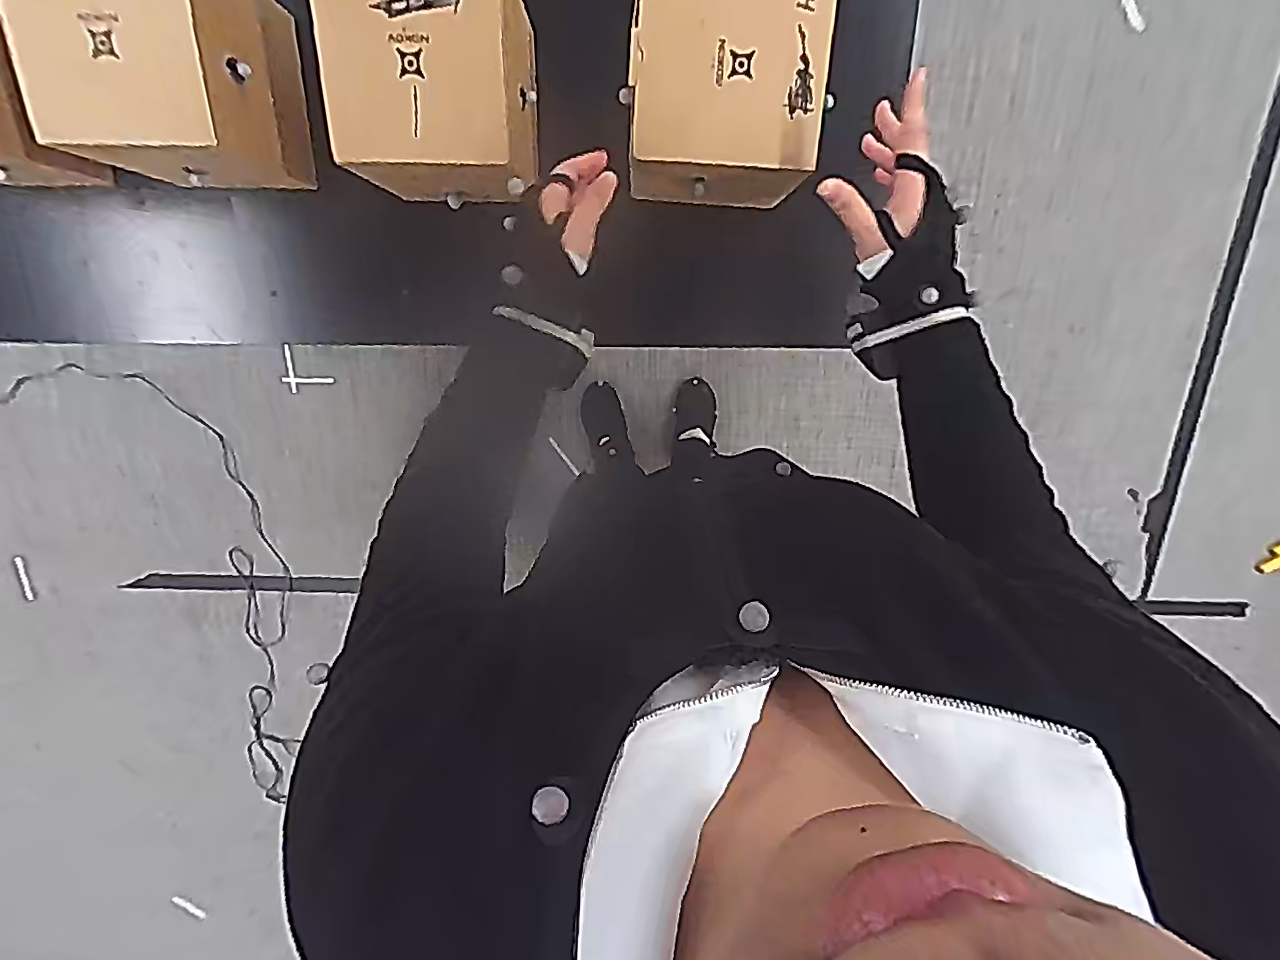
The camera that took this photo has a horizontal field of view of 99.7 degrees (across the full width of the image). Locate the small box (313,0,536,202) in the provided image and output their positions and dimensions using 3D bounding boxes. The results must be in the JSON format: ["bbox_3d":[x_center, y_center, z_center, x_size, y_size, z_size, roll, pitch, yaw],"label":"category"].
[{"bbox_3d":[-0.202,-0.400,0.552,0.168,0.176,0.179,1,107,-1],"label":"small box"}]

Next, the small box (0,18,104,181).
[{"bbox_3d":[-0.707,-0.414,0.543,0.168,0.176,0.179,-1,105,-2],"label":"small box"}]

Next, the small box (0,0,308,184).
[{"bbox_3d":[-0.467,-0.411,0.545,0.168,0.176,0.179,0,106,-2],"label":"small box"}]

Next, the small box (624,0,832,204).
[{"bbox_3d":[0.078,-0.395,0.557,0.179,0.176,0.168,3,106,-1],"label":"small box"}]
